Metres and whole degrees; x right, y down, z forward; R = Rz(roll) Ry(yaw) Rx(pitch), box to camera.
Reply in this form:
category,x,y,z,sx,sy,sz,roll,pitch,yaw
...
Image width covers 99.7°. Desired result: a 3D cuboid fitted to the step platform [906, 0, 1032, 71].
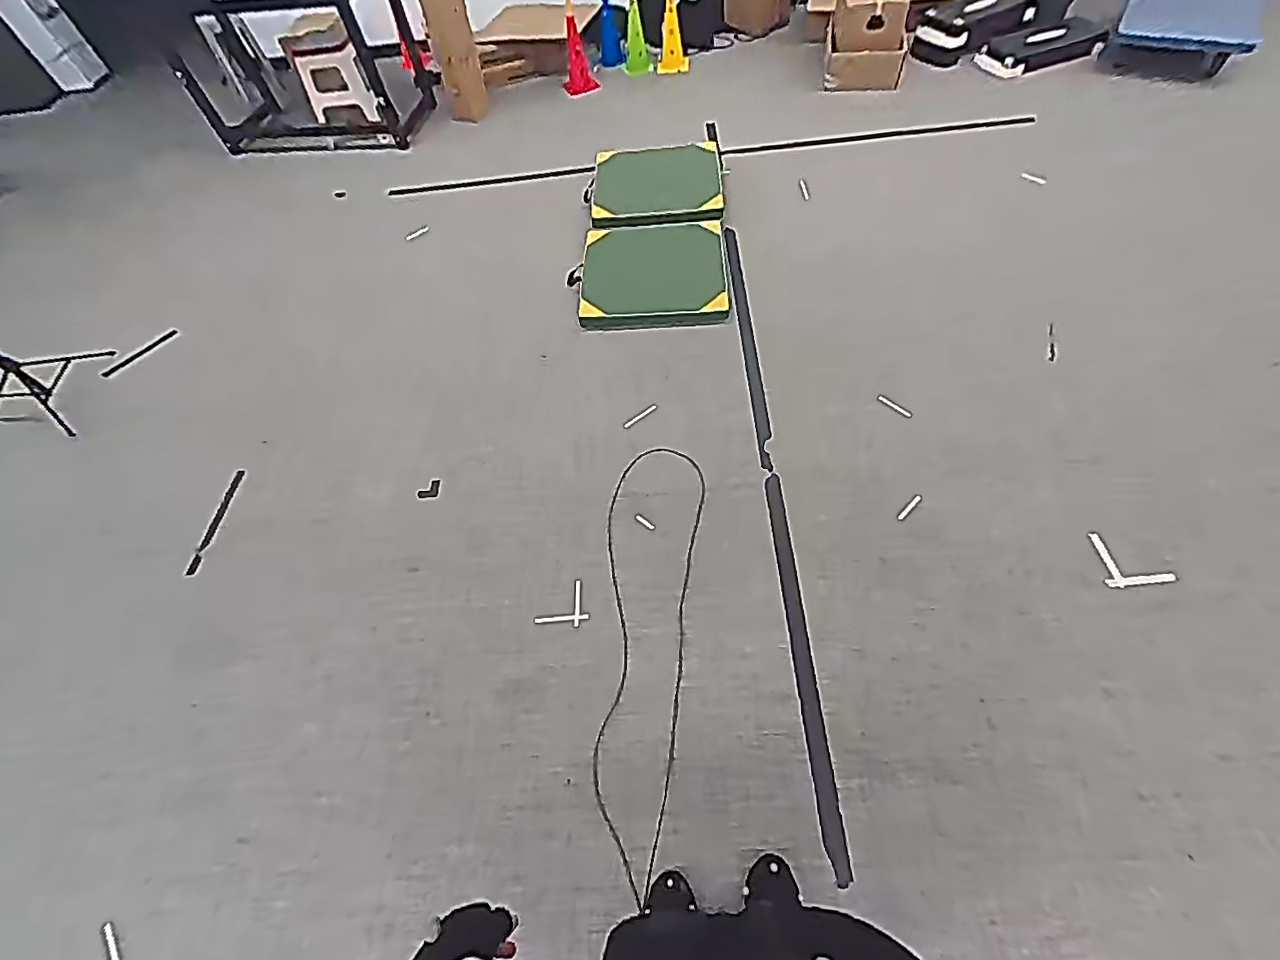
category,x,y,z,sx,sy,sz,roll,pitch,yaw
step platform,1.925,-2.638,3.163,0.684,0.204,0.286,-28,59,-12
